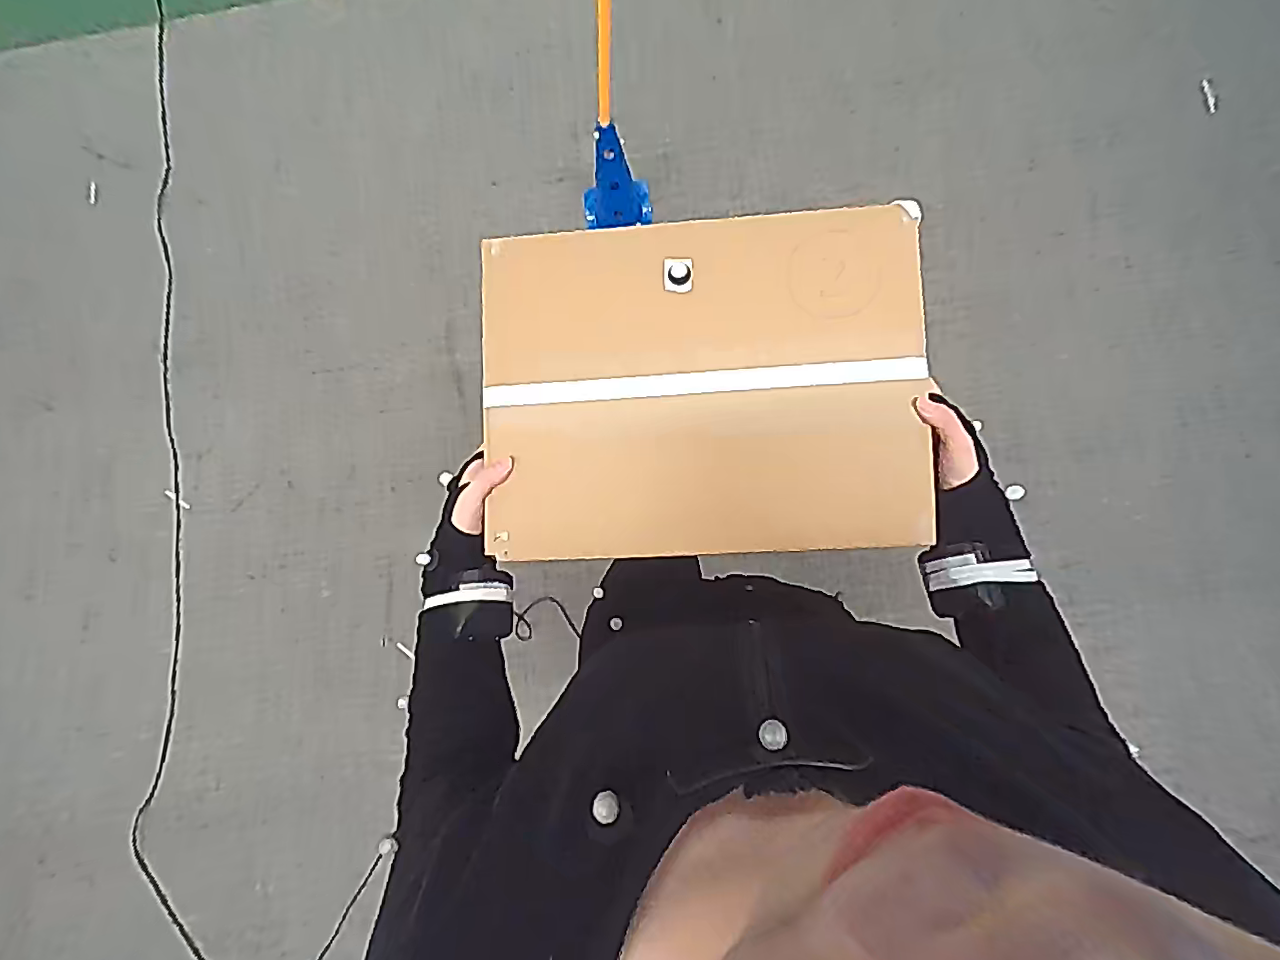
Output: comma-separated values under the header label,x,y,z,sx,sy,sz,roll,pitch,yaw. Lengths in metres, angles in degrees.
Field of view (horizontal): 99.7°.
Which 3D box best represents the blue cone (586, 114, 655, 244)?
label,x,y,z,sx,sy,sz,roll,pitch,yaw
blue cone,-0.067,-0.826,1.449,0.193,0.380,0.192,-10,82,1
